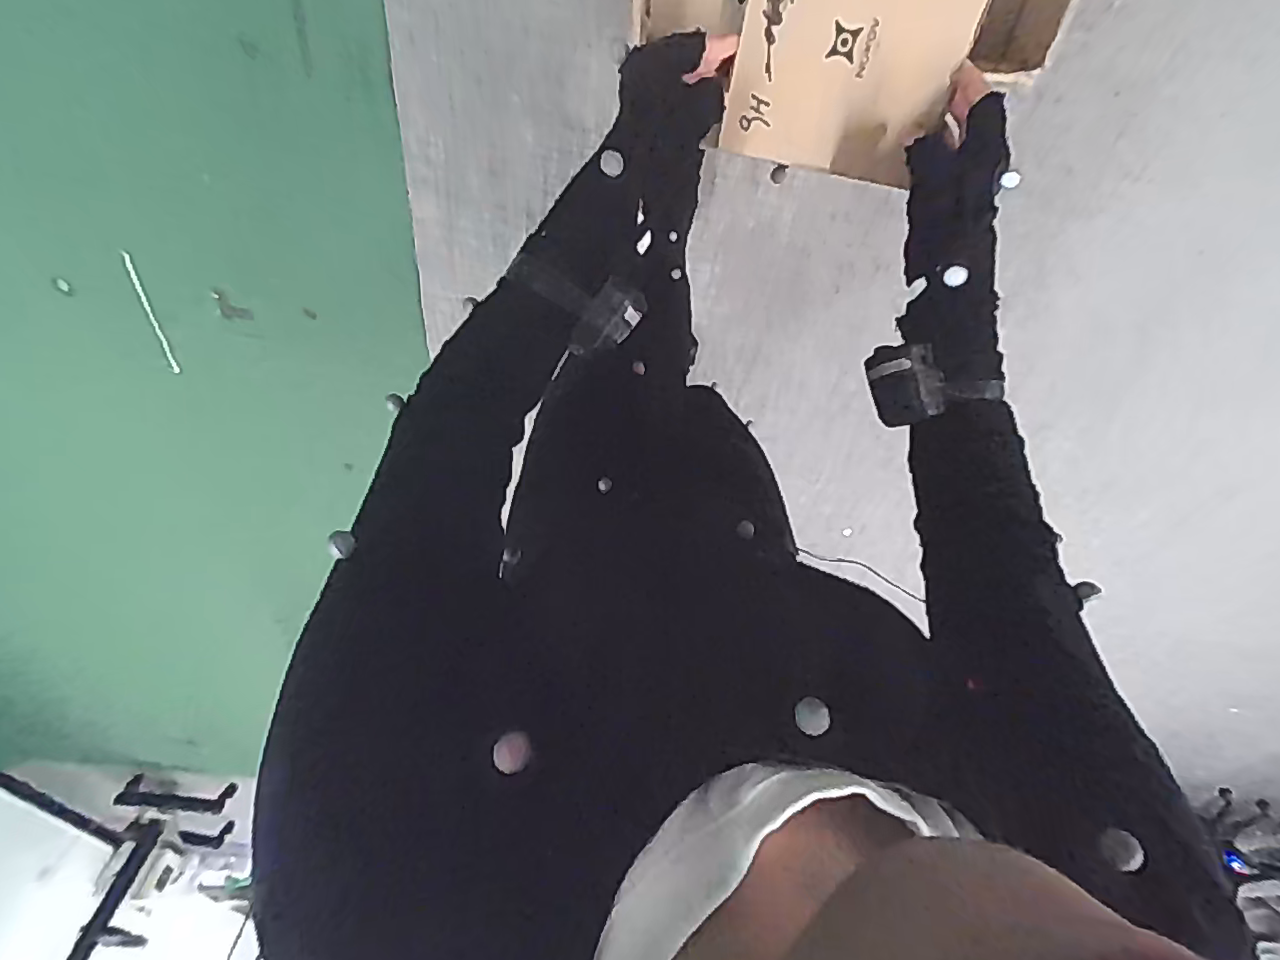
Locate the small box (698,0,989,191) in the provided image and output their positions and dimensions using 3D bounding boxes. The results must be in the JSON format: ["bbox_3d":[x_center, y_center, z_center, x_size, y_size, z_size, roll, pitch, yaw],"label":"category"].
[{"bbox_3d":[0.160,-0.370,0.477,0.179,0.176,0.168,8,122,-6],"label":"small box"}]
